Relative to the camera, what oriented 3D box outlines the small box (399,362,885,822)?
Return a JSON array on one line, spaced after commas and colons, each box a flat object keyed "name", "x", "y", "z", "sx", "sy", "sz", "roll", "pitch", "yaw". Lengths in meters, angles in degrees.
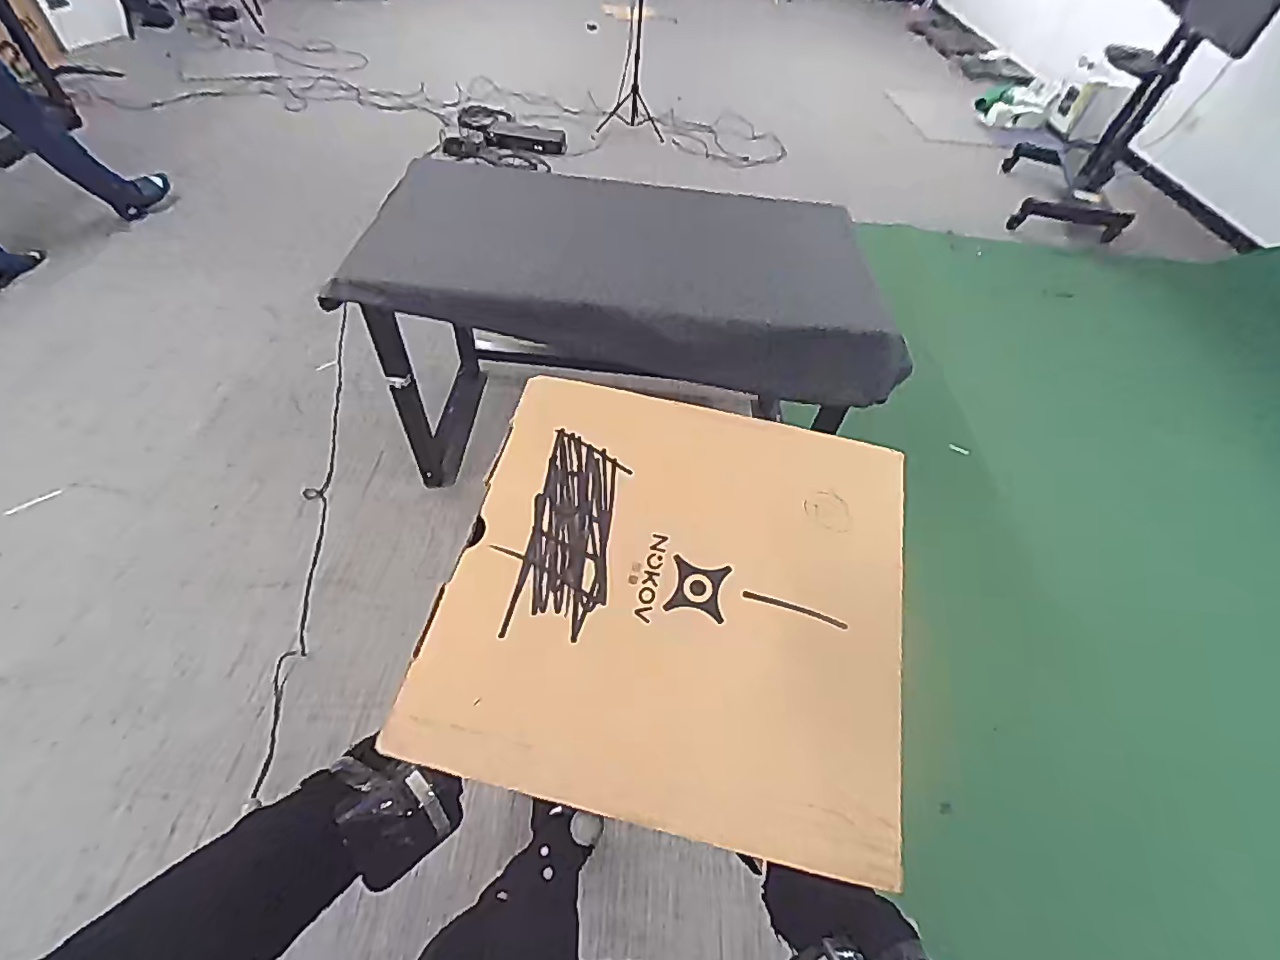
[{"name": "small box", "x": 0.010, "y": 0.066, "z": 0.297, "sx": 0.179, "sy": 0.176, "sz": 0.168, "roll": 13, "pitch": 63, "yaw": 4}]
